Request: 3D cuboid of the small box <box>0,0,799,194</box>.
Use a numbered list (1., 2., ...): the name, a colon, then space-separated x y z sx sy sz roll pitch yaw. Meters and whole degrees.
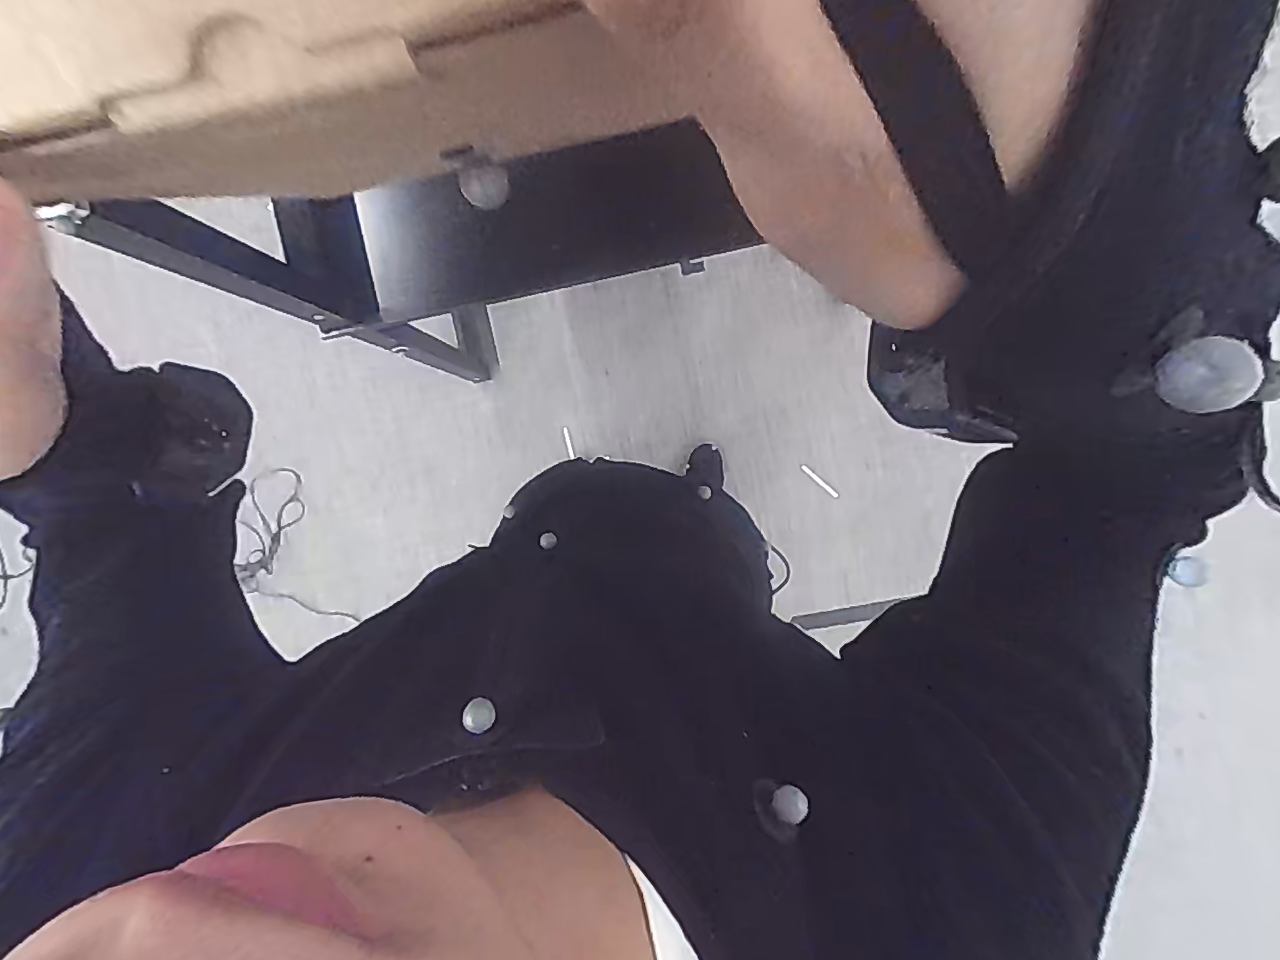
1. small box: -0.066 -0.168 0.106 0.168 0.176 0.179 -9 117 6
